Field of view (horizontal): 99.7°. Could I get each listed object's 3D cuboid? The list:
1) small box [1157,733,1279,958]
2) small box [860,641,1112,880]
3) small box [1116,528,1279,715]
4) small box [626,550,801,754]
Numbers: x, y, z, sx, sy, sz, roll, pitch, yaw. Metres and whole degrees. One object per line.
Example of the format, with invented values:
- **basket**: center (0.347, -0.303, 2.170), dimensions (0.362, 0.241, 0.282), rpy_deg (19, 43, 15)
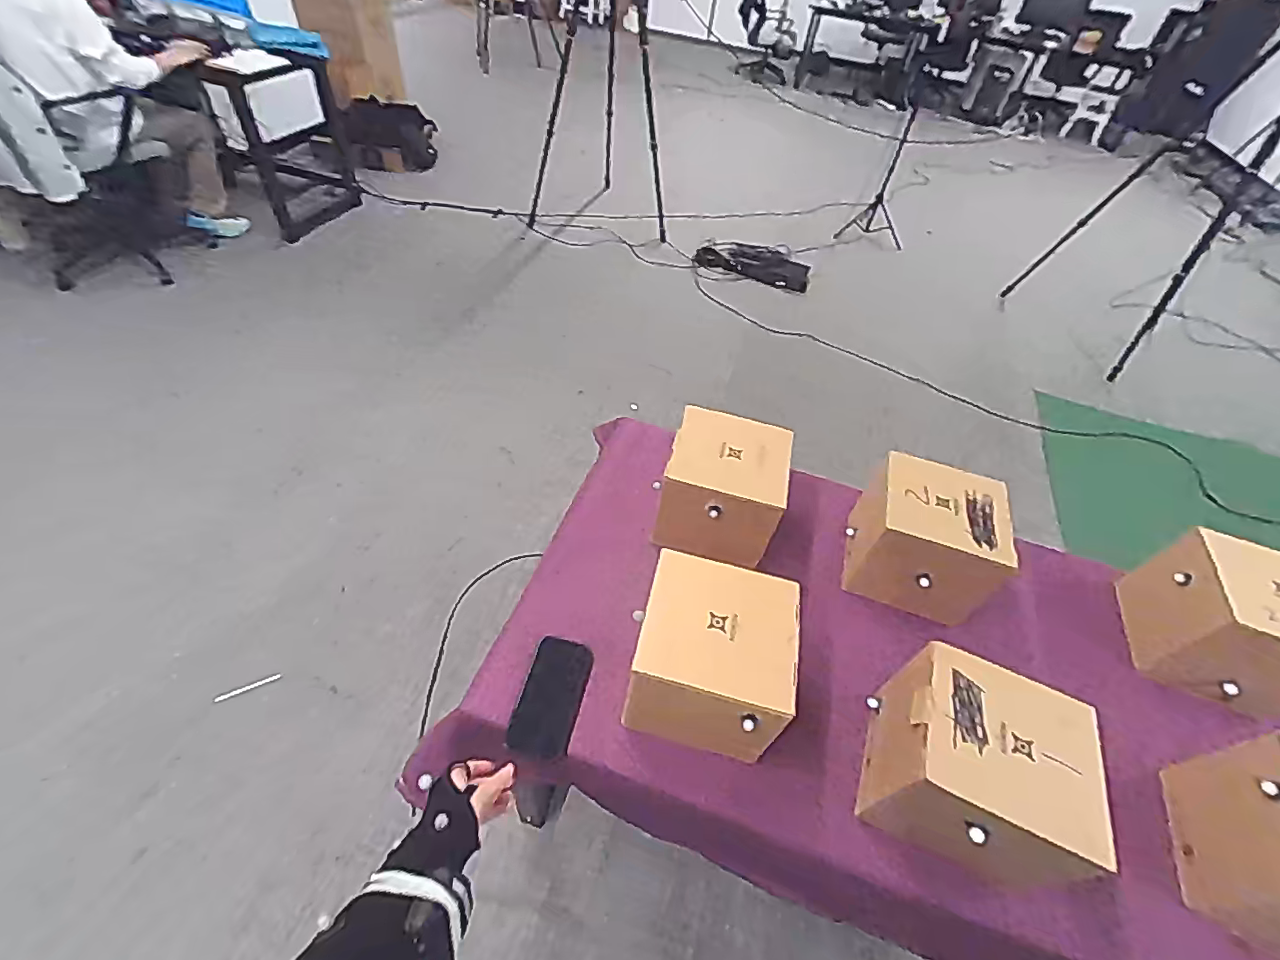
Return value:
- **small box**: center (0.735, 0.415, 0.589), dimensions (0.179, 0.176, 0.168), rpy_deg (24, 49, 13)
- **small box**: center (0.377, 0.324, 0.620), dimensions (0.179, 0.176, 0.168), rpy_deg (23, 49, 12)
- **small box**: center (0.853, 0.208, 0.793), dimensions (0.168, 0.176, 0.179), rpy_deg (21, 49, 11)
- **small box**: center (0.087, 0.218, 0.676), dimensions (0.179, 0.176, 0.168), rpy_deg (15, 47, 4)
